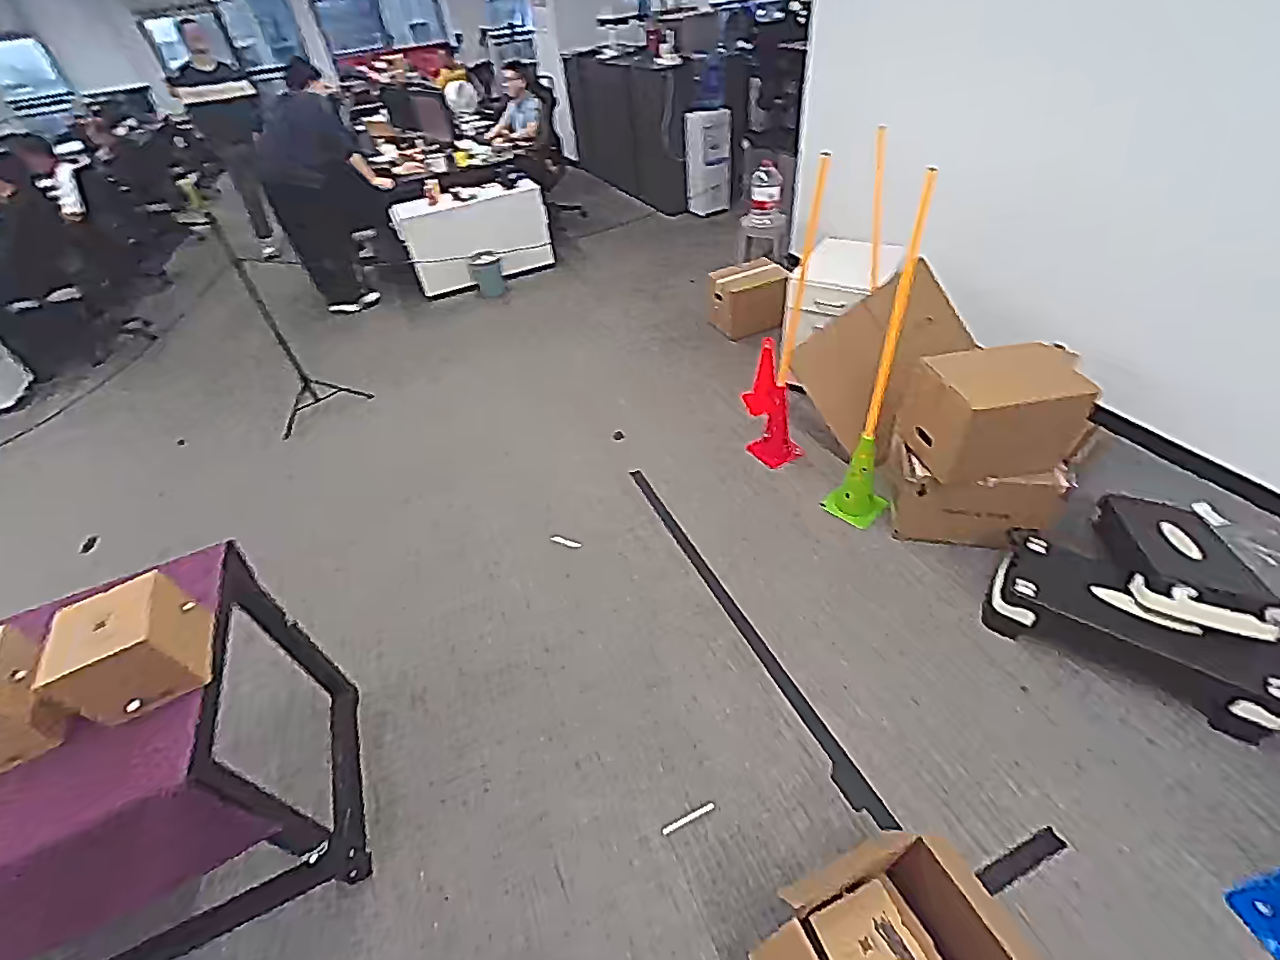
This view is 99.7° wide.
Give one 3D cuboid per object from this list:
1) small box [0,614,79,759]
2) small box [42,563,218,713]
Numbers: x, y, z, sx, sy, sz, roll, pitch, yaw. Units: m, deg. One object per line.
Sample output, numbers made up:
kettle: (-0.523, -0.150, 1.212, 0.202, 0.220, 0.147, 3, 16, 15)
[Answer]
small box: (-1.150, 0.380, 0.955, 0.168, 0.176, 0.179, -25, 45, -18)
small box: (-0.934, 0.296, 1.015, 0.168, 0.176, 0.179, -25, 45, -16)
